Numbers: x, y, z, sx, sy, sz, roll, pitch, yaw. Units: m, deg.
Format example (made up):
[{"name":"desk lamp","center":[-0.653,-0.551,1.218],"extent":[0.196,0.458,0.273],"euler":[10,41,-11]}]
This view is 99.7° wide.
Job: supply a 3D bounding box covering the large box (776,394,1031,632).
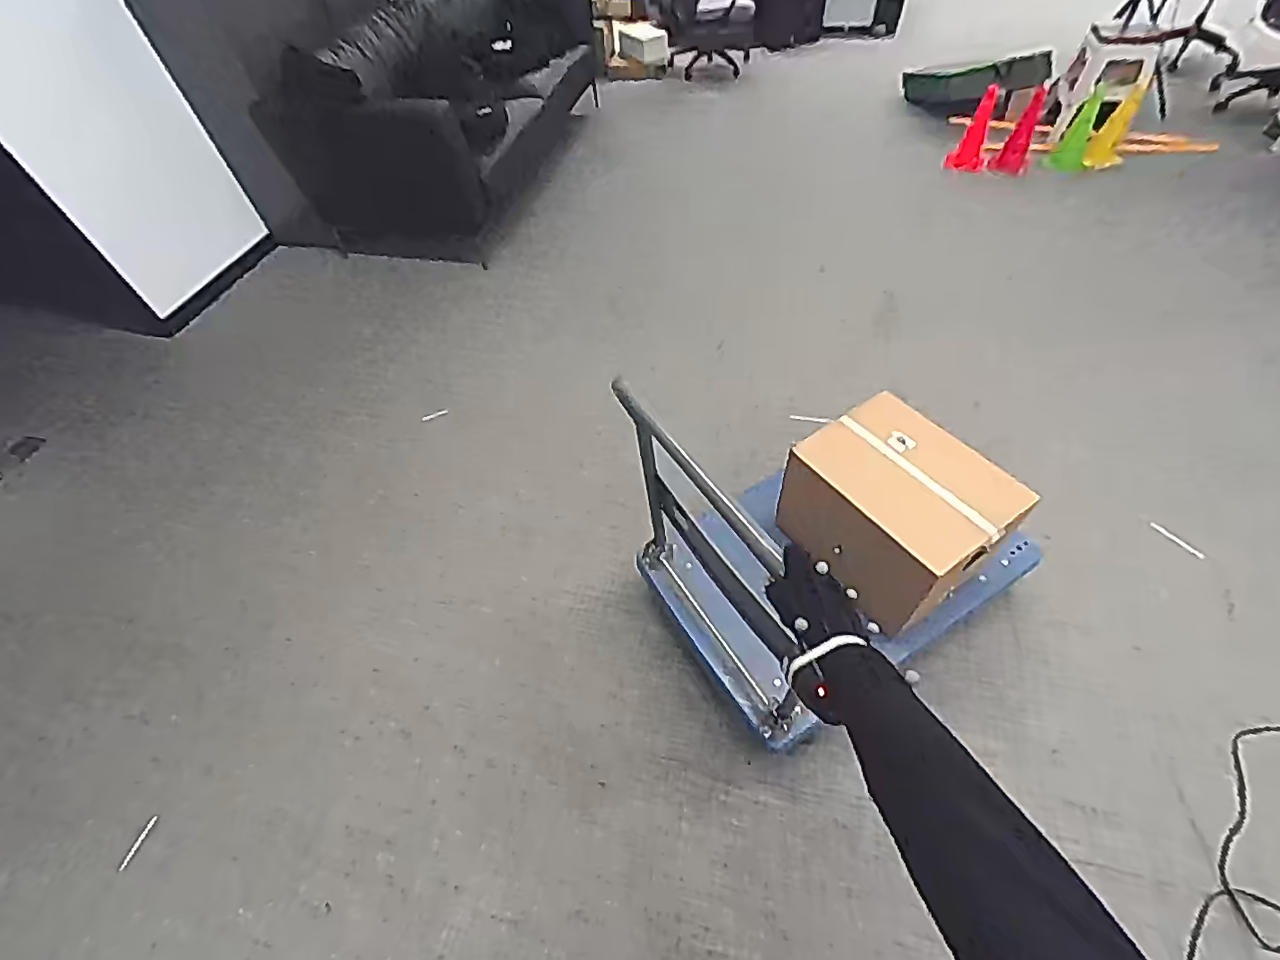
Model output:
[{"name":"large box","center":[0.586,0.075,1.289],"extent":[0.320,0.320,0.408],"euler":[-29,54,-17]}]
